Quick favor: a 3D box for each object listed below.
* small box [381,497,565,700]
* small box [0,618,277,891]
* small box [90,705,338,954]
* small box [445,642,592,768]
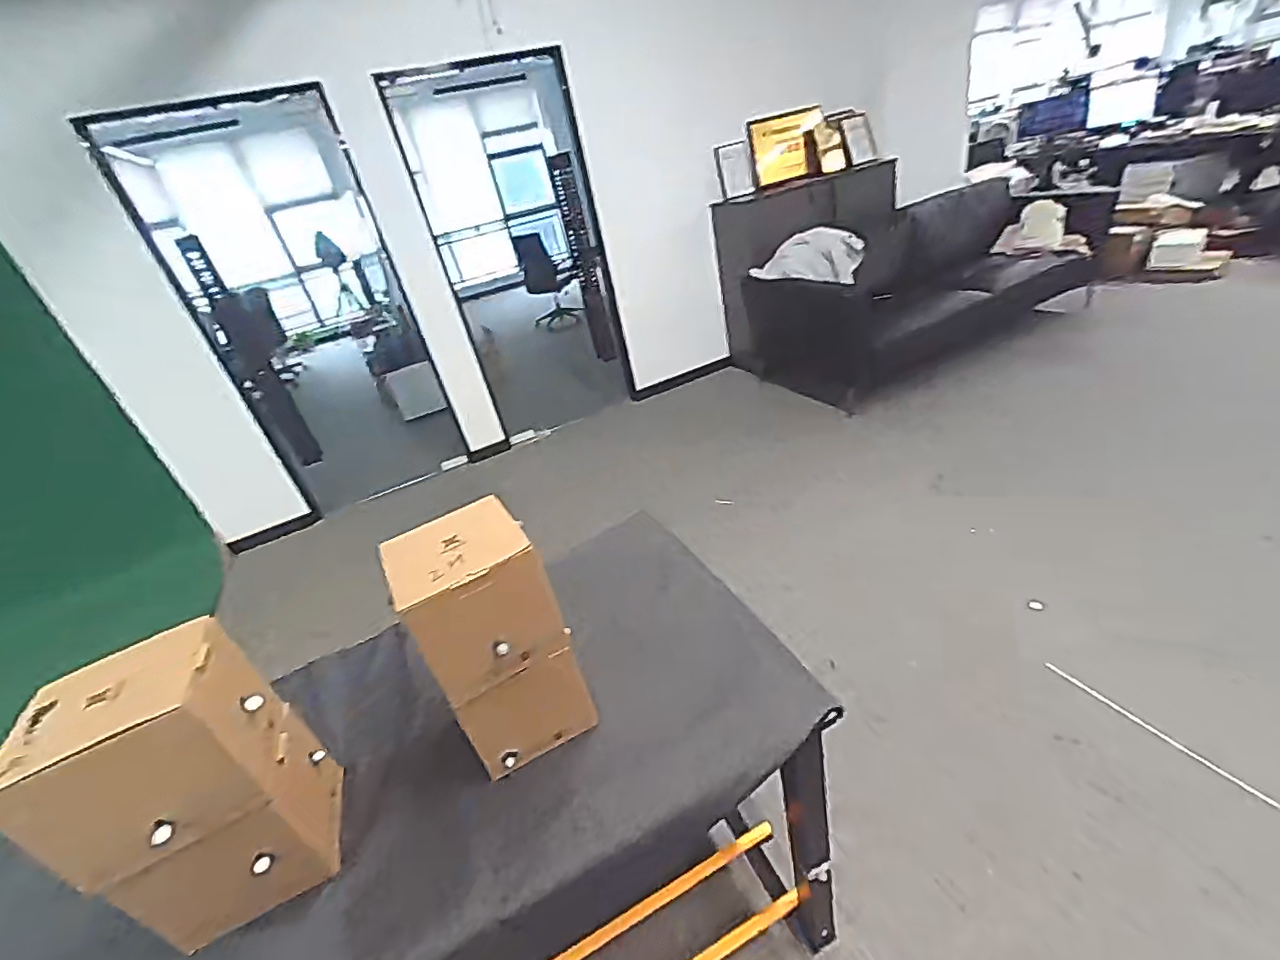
[{"bbox_3d":[-0.223,0.153,0.727,0.168,0.176,0.179,-26,31,-21],"label":"small box"},{"bbox_3d":[-0.542,0.297,0.605,0.179,0.176,0.168,-24,29,-20],"label":"small box"},{"bbox_3d":[-0.512,0.436,0.689,0.179,0.176,0.168,-23,29,-17],"label":"small box"},{"bbox_3d":[-0.188,0.292,0.808,0.168,0.176,0.179,-23,29,-17],"label":"small box"}]
